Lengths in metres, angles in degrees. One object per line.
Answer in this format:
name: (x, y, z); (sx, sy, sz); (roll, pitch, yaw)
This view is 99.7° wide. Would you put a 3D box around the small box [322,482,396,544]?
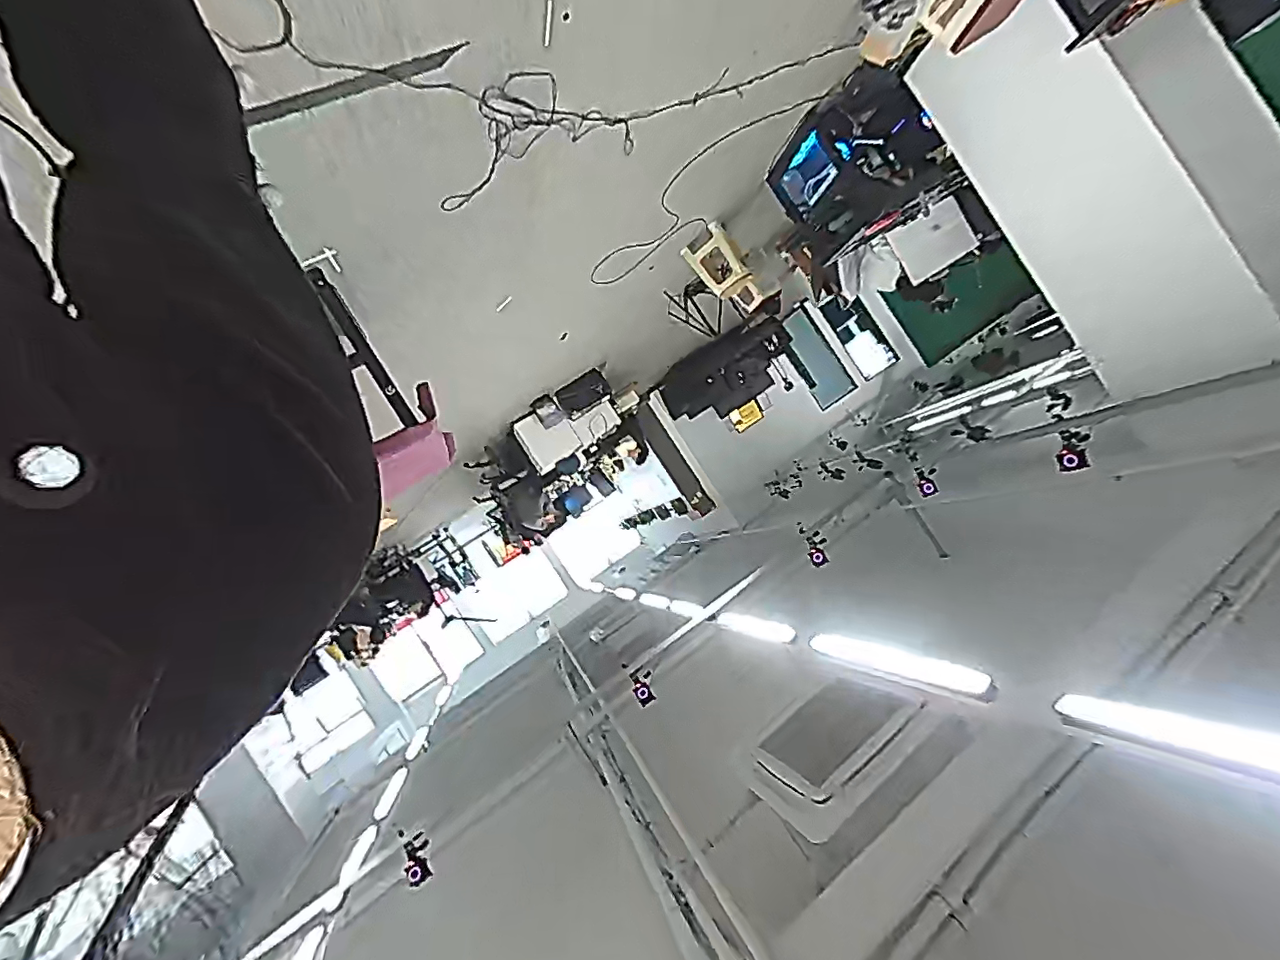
small box: (-1.054, 0.123, 2.030); (0.168, 0.176, 0.179); (-33, 180, -16)
